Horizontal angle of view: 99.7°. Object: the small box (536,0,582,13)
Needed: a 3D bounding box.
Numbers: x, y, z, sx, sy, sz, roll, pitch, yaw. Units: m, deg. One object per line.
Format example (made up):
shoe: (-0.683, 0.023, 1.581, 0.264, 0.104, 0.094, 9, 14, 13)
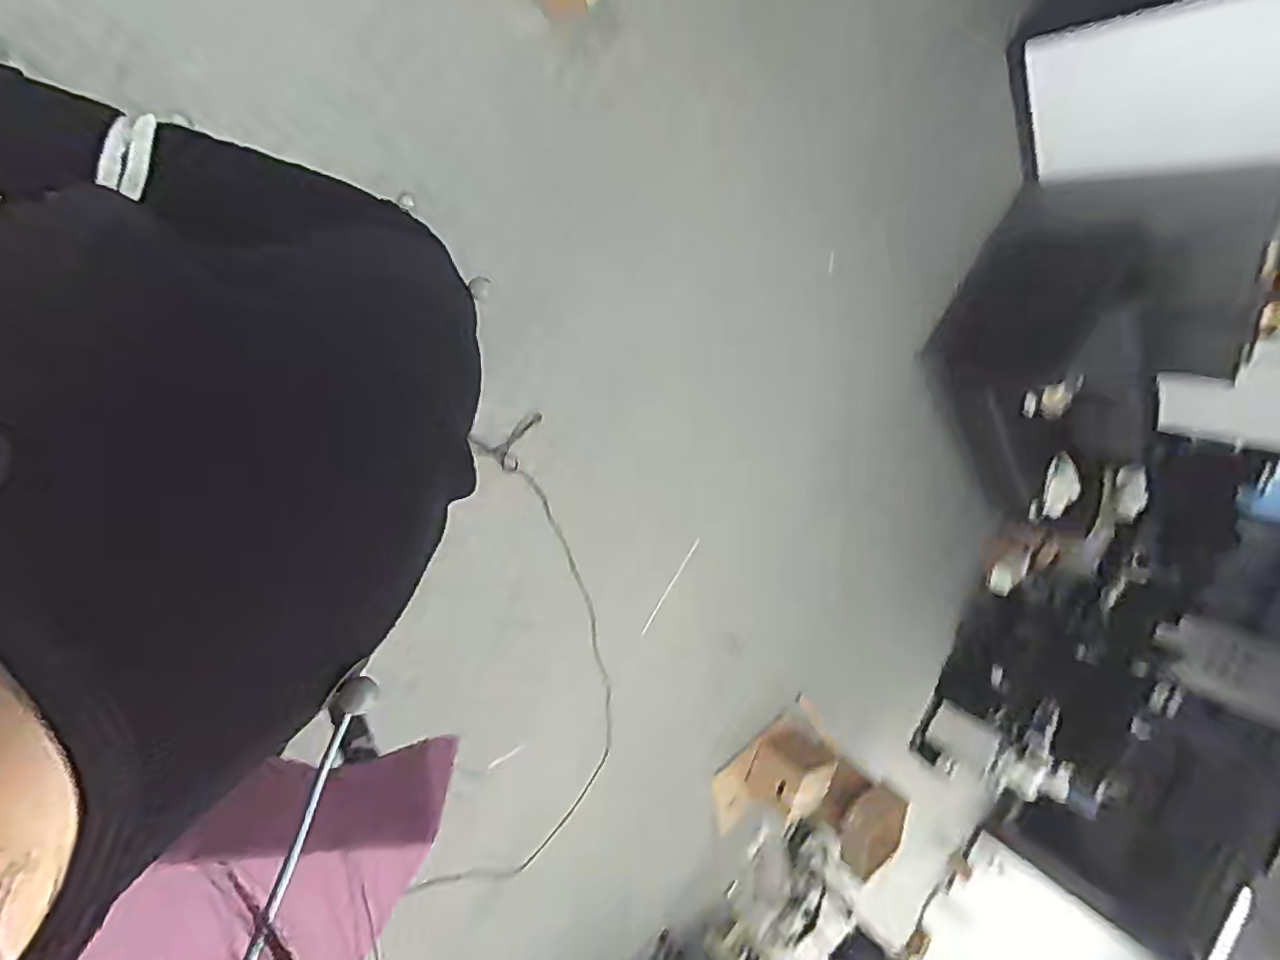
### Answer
small box: (-0.179, -1.232, 1.250, 0.168, 0.176, 0.179, -53, 133, -10)
